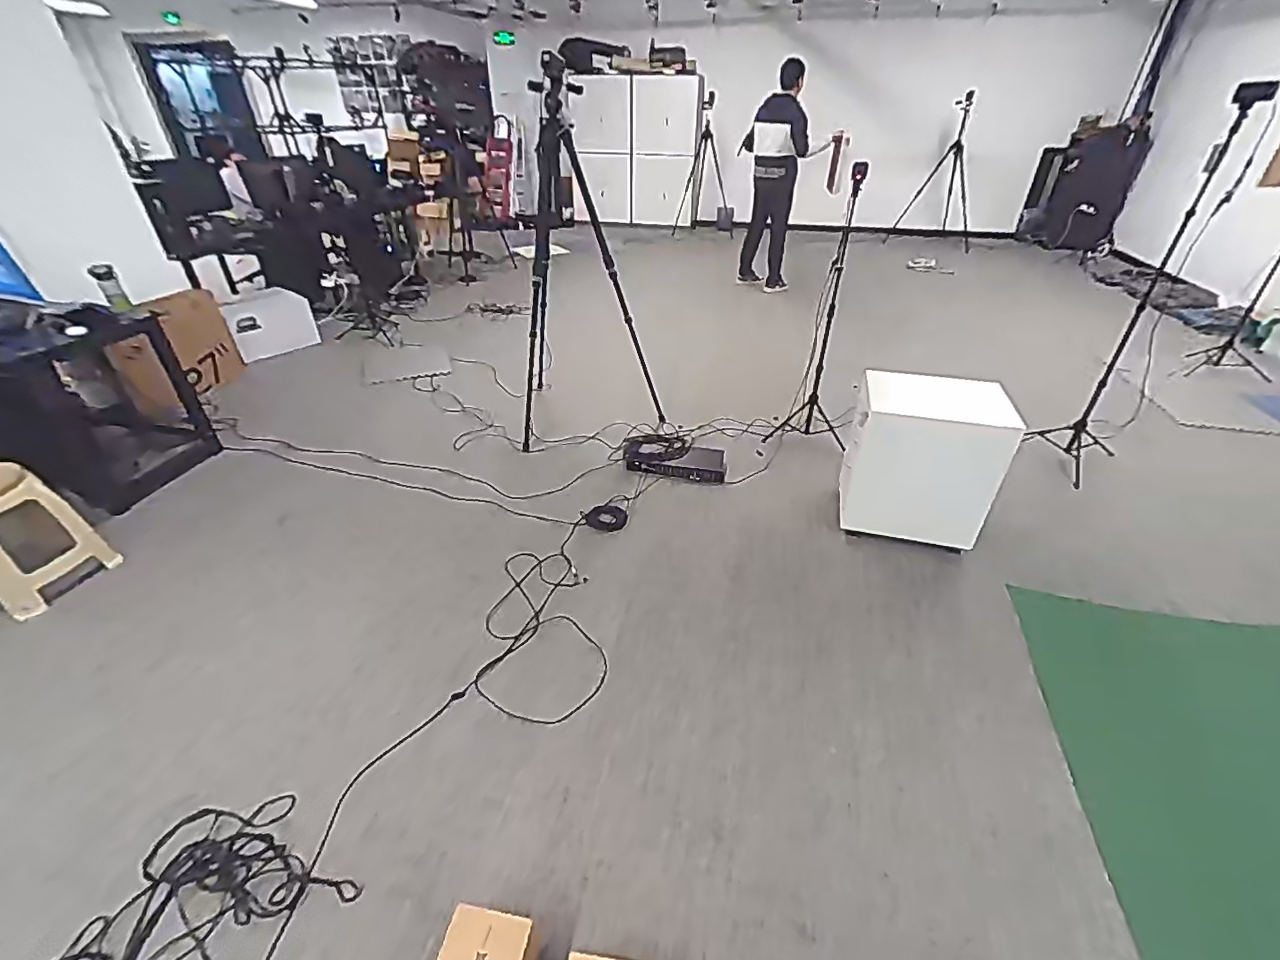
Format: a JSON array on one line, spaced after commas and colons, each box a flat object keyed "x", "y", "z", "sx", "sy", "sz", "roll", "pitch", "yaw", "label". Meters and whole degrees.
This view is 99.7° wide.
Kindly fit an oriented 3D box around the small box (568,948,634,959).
[{"x": -0.070, "y": 1.033, "z": 1.022, "sx": 0.168, "sy": 0.176, "sz": 0.179, "roll": 4, "pitch": 36, "yaw": 6, "label": "small box"}]

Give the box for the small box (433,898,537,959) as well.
[{"x": -0.314, "y": 0.988, "z": 1.082, "sx": 0.168, "sy": 0.176, "sz": 0.179, "roll": 6, "pitch": 35, "yaw": 9, "label": "small box"}]
